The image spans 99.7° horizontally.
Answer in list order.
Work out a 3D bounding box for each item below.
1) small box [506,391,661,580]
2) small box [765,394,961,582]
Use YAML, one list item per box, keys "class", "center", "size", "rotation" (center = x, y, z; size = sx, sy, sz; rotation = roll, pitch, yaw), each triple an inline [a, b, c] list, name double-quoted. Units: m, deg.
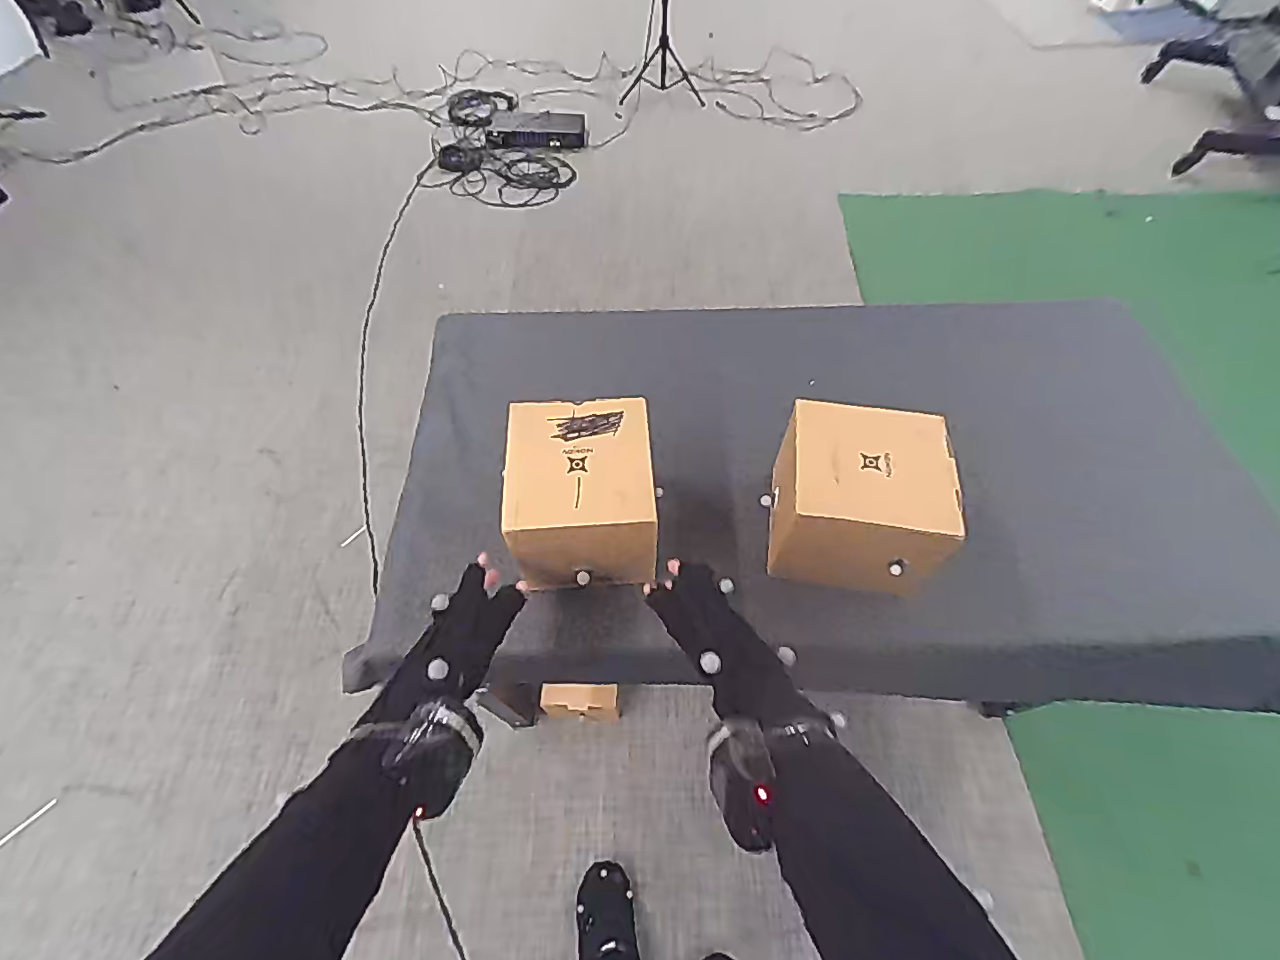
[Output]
- class: "small box"
  center: [-0.065, 0.010, 0.681]
  size: [0.168, 0.176, 0.179]
  rotation: [-3, 58, -2]
- class: "small box"
  center: [0.264, 0.017, 0.680]
  size: [0.179, 0.176, 0.168]
  rotation: [7, 57, 5]
